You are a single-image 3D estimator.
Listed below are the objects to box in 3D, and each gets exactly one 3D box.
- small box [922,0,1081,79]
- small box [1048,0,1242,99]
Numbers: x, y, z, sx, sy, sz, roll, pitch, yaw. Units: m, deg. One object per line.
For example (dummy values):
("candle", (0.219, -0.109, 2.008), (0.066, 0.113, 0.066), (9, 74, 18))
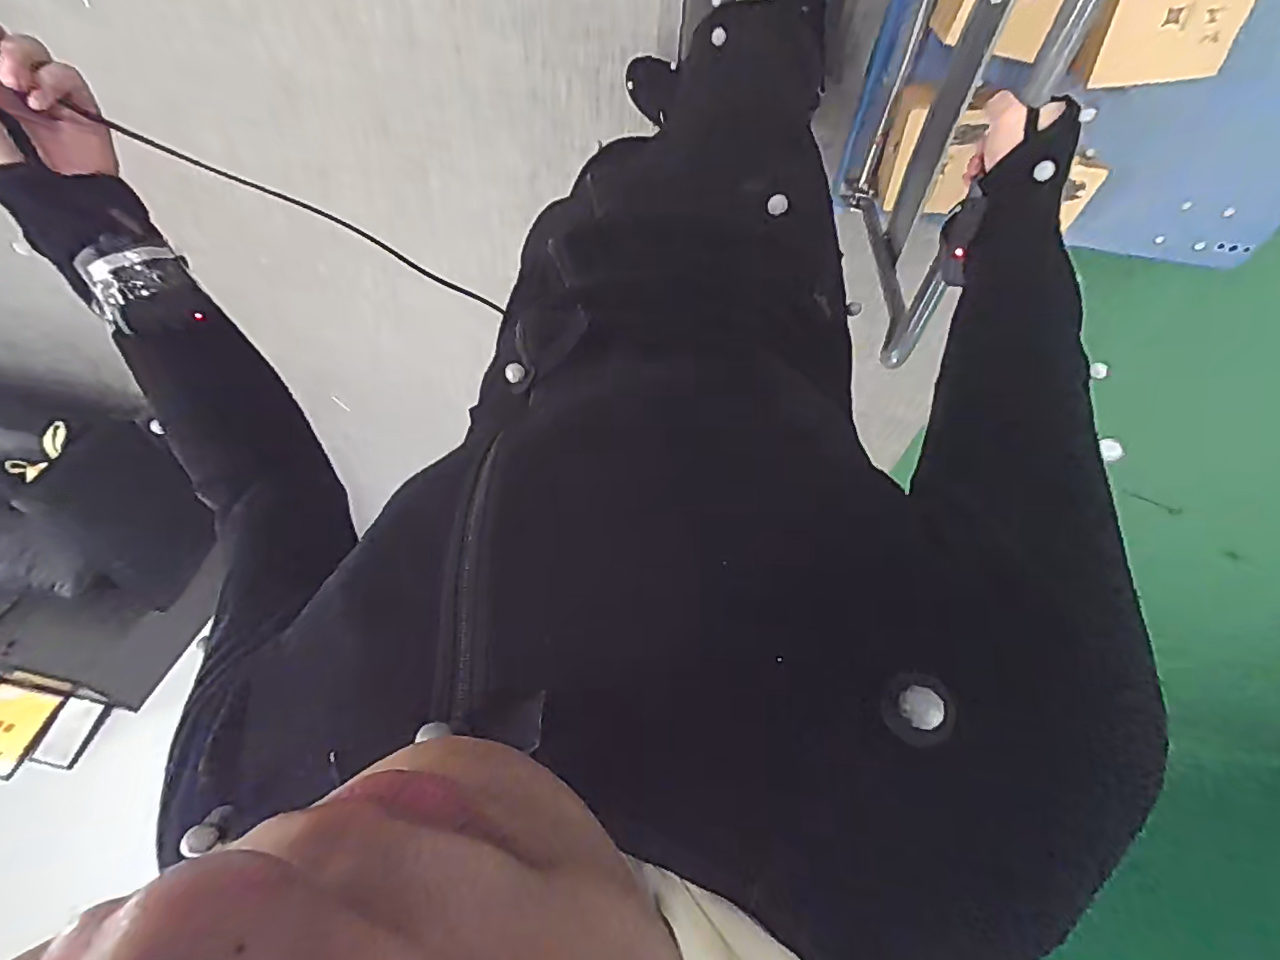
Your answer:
("small box", (0.587, -0.783, 0.870), (0.179, 0.176, 0.168), (15, 139, 1))
("small box", (0.795, -0.730, 0.861), (0.179, 0.176, 0.168), (4, 138, 13))
